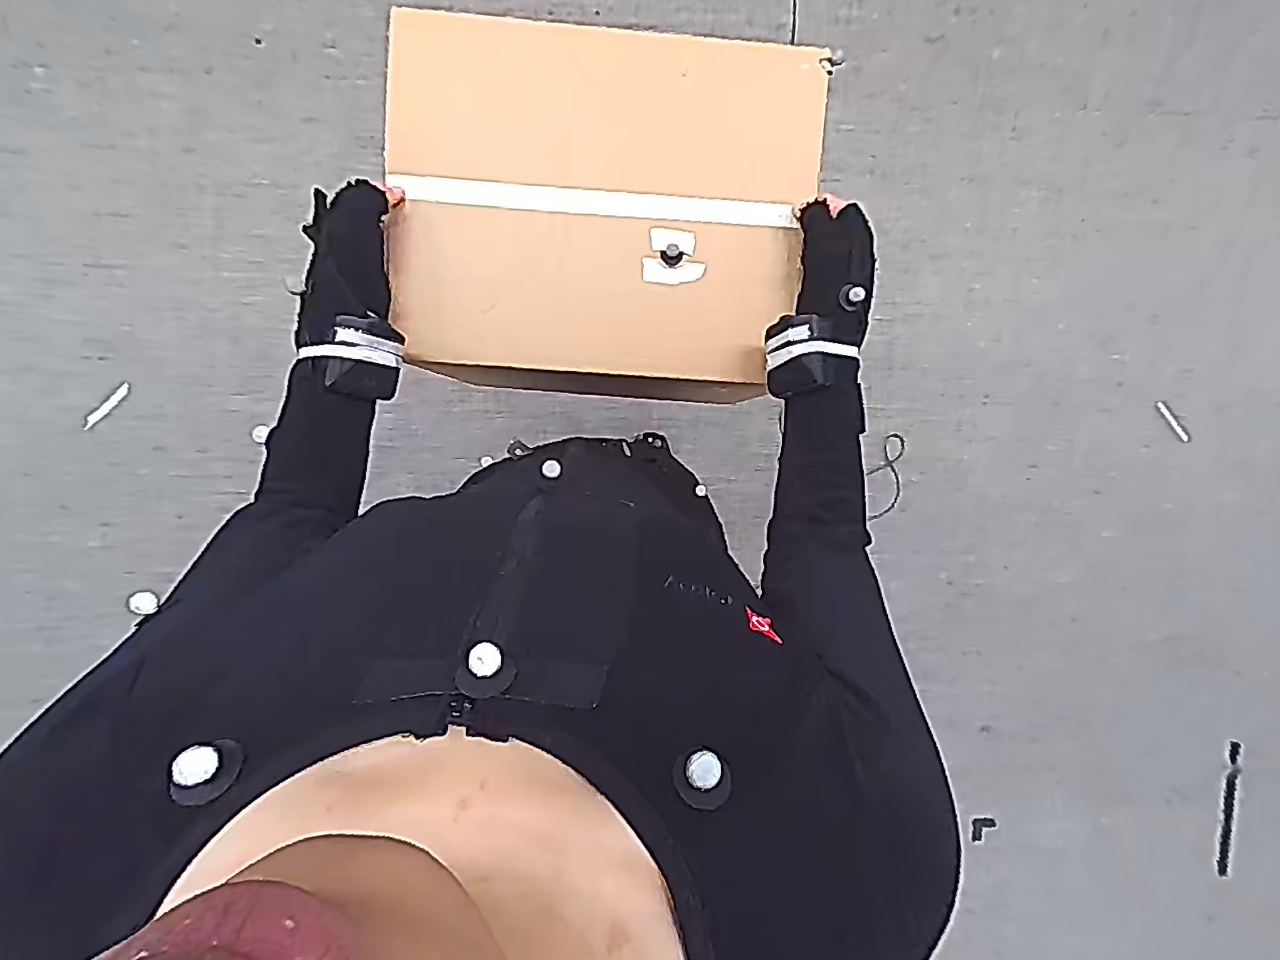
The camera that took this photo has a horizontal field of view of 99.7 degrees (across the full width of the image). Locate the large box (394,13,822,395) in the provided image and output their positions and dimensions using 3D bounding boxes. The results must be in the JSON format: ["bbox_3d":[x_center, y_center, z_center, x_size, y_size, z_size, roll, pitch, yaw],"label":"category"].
[{"bbox_3d":[-0.039,-0.279,0.662,0.408,0.320,0.320,3,95,-3],"label":"large box"}]
